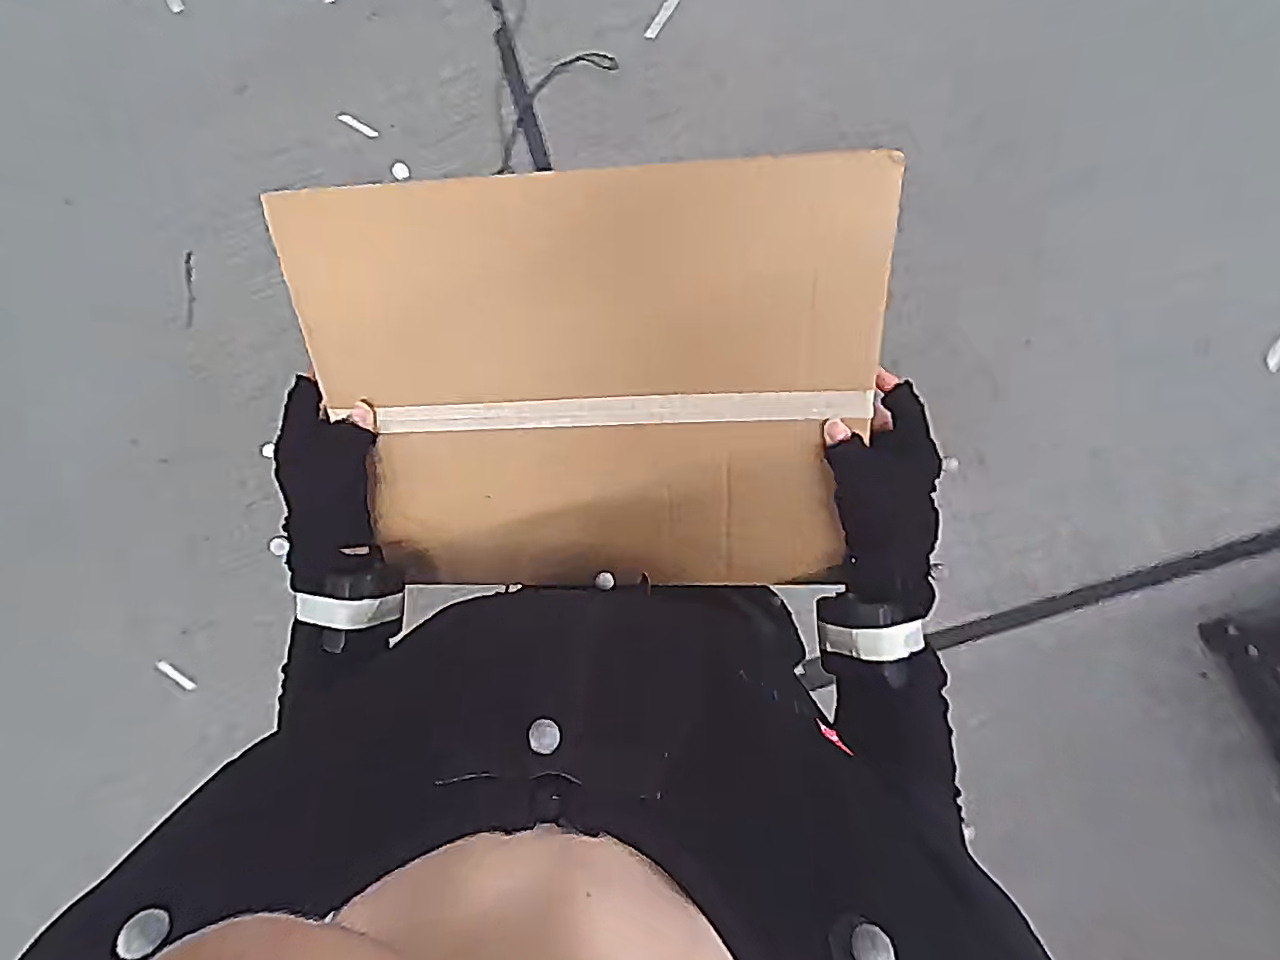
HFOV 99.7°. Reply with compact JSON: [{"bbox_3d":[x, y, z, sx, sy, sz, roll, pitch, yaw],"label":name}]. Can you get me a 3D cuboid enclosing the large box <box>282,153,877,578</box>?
[{"bbox_3d":[-0.031,-0.119,0.547,0.408,0.320,0.320,-2,117,5],"label":"large box"}]
